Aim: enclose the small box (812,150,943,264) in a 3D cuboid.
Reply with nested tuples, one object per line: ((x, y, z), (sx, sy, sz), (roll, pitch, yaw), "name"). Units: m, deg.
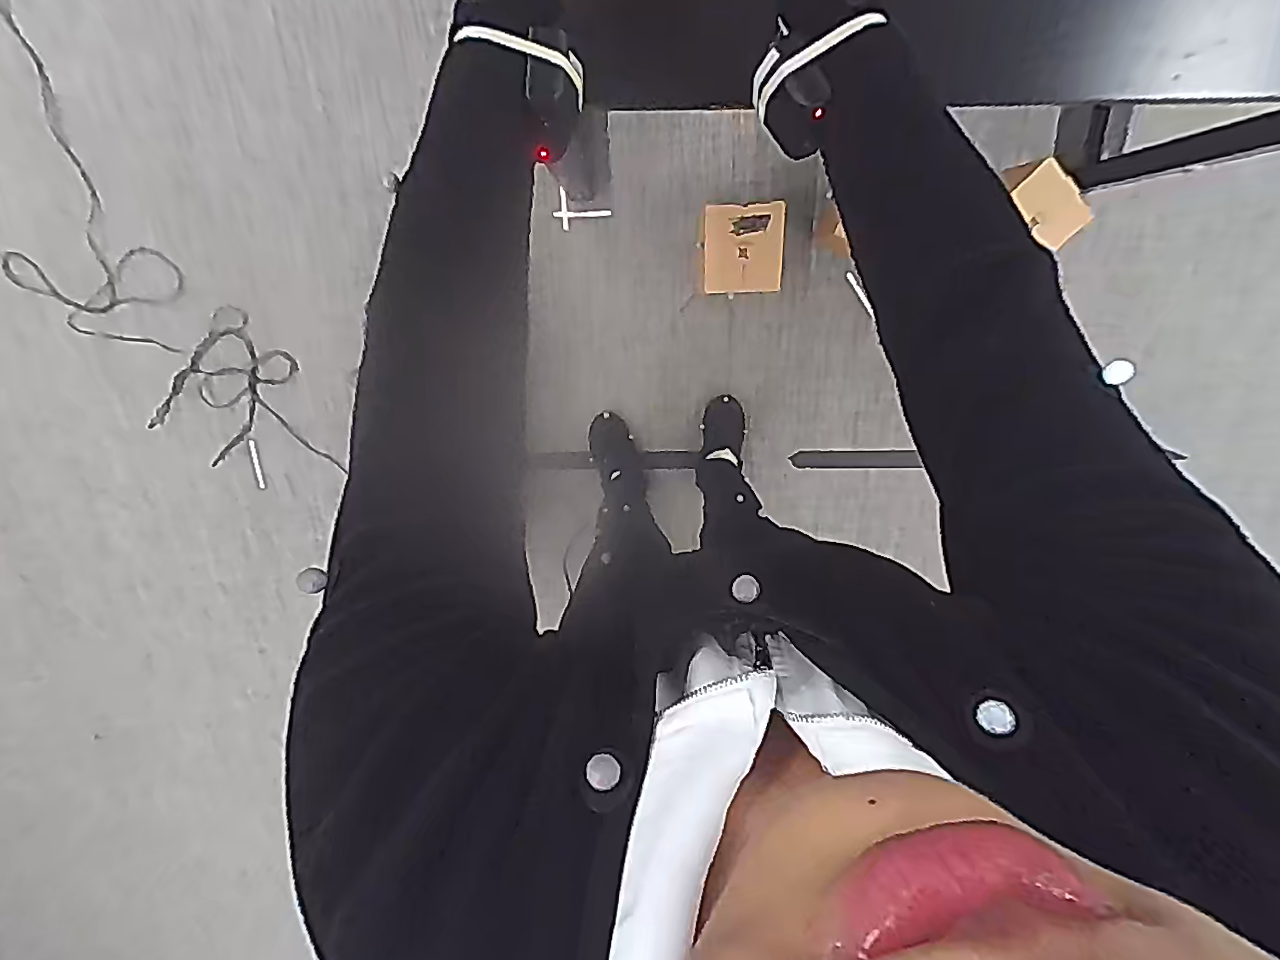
((0.508, -0.585, 1.184), (0.179, 0.176, 0.168), (19, 108, -6), "small box")

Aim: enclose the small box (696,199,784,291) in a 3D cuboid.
((0.215, -0.517, 1.207), (0.168, 0.176, 0.179), (-2, 111, 1), "small box")

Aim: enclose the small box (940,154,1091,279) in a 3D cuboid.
((0.811, -0.567, 1.187), (0.168, 0.176, 0.179), (41, 105, -13), "small box")
